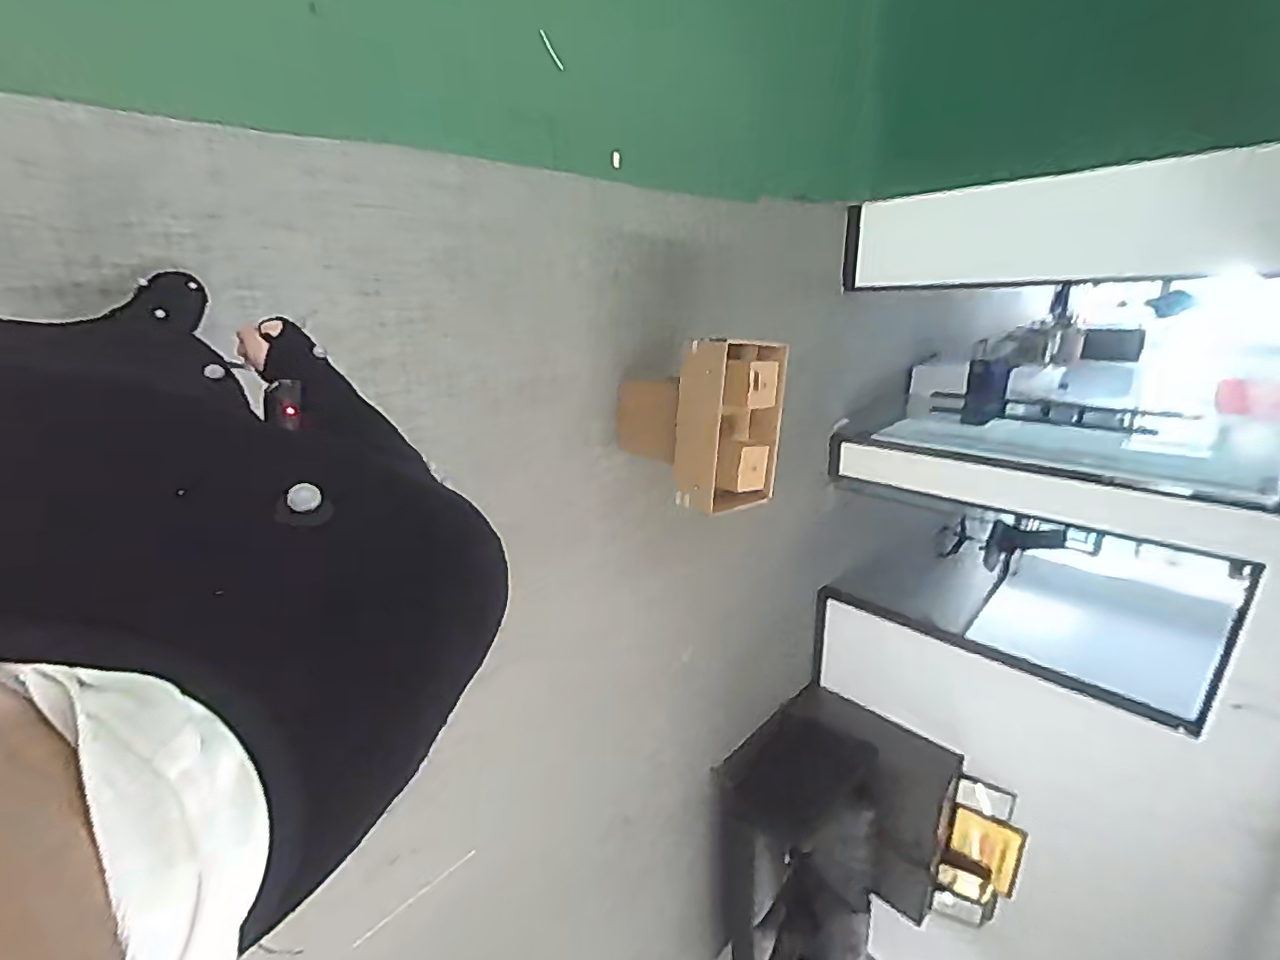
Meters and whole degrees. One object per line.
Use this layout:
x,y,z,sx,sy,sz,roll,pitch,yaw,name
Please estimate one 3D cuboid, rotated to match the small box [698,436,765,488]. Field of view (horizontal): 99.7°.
0.345,-0.073,2.041,0.179,0.176,0.168,-5,106,-45,small box
